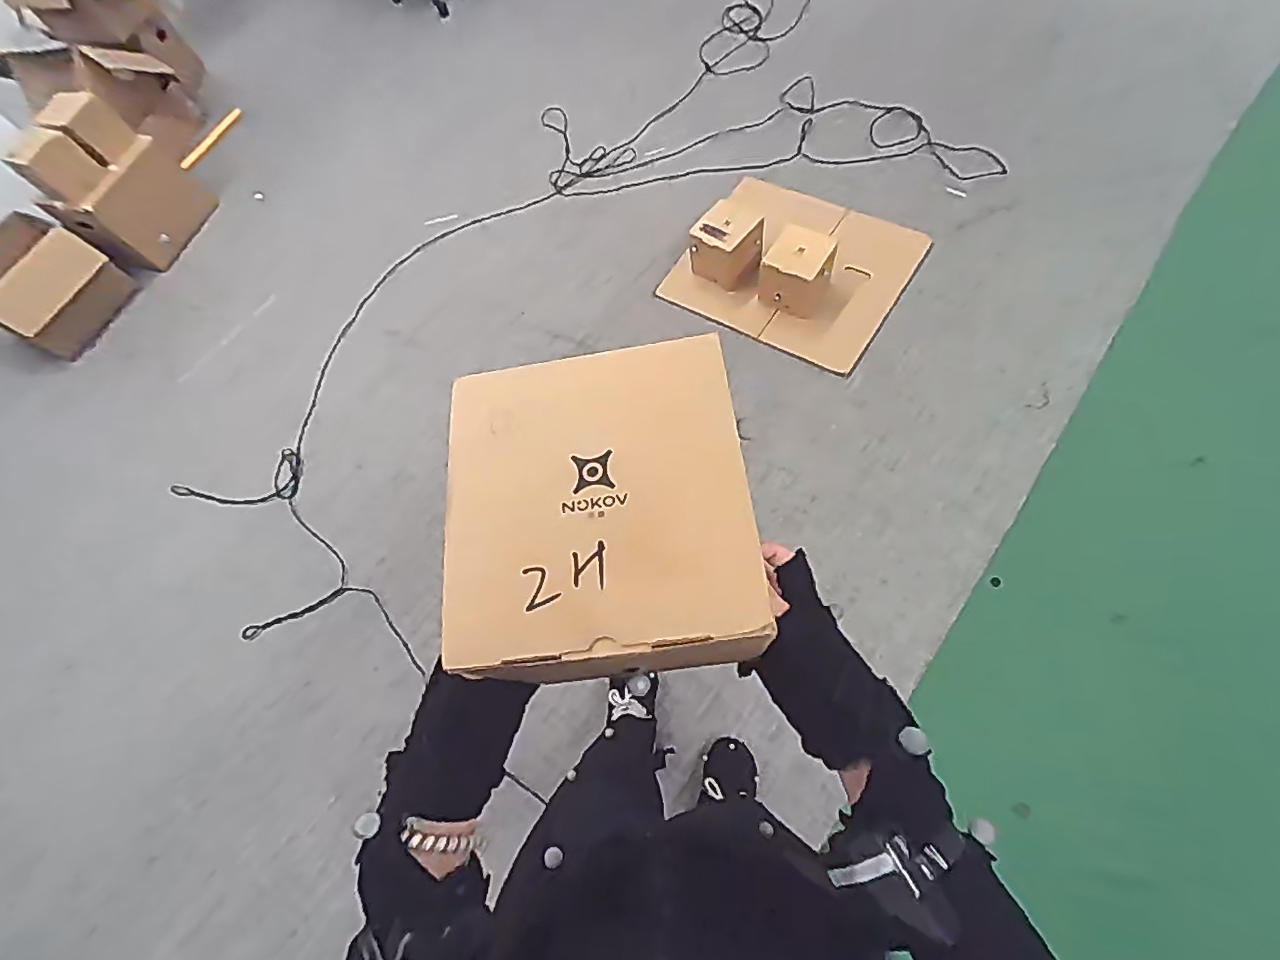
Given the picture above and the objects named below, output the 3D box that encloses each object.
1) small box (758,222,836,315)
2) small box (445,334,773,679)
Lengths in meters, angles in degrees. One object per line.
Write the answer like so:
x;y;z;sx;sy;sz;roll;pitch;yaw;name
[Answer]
0.474;-0.645;1.661;0.168;0.176;0.179;29;75;19;small box
-0.014;0.033;0.369;0.168;0.176;0.179;-9;67;5;small box
